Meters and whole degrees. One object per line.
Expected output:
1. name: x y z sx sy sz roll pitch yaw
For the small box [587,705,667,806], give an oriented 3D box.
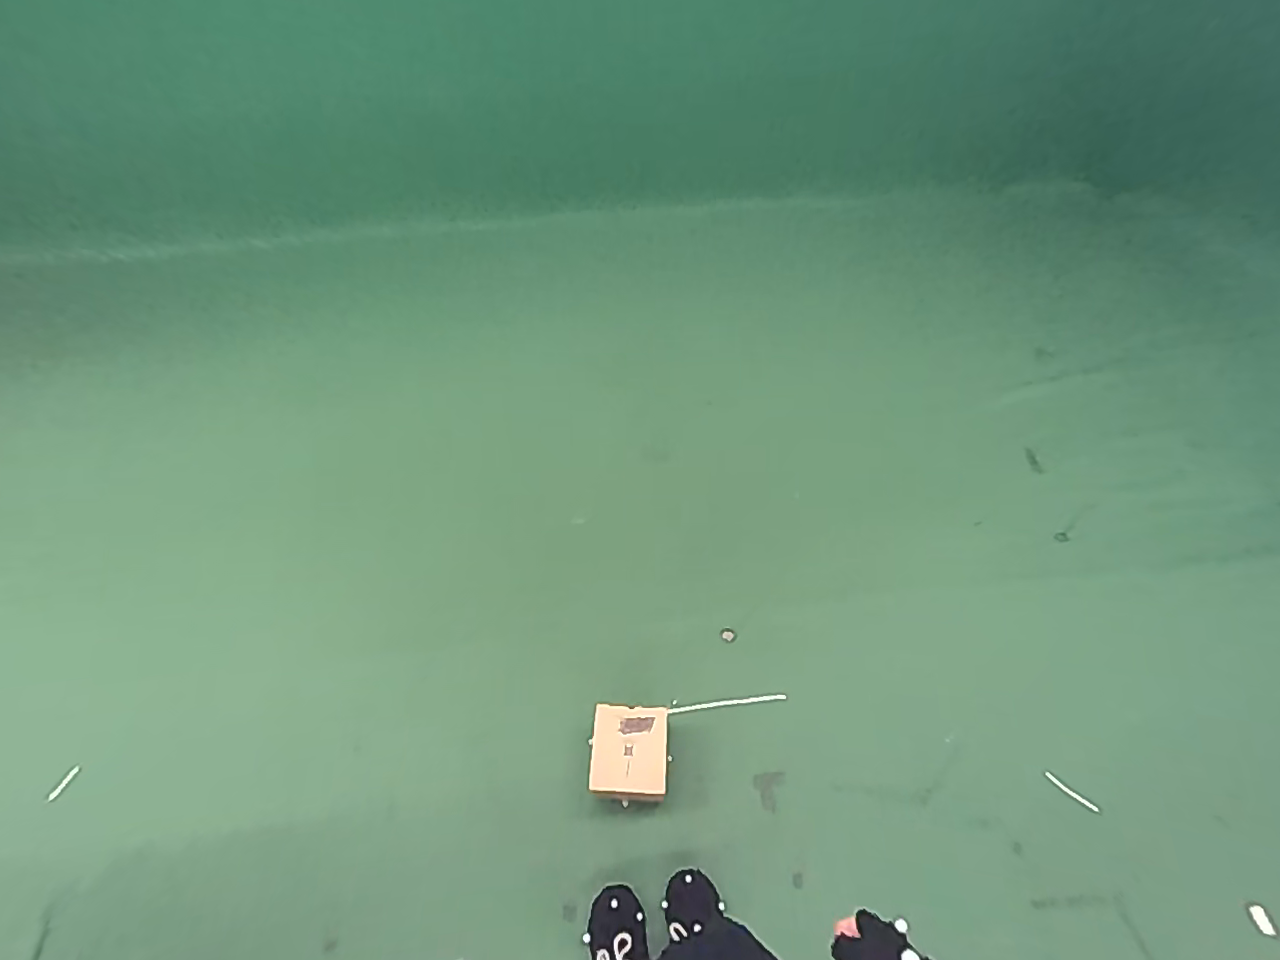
1. small box: -0.026 0.634 1.241 0.168 0.176 0.179 2 54 2
